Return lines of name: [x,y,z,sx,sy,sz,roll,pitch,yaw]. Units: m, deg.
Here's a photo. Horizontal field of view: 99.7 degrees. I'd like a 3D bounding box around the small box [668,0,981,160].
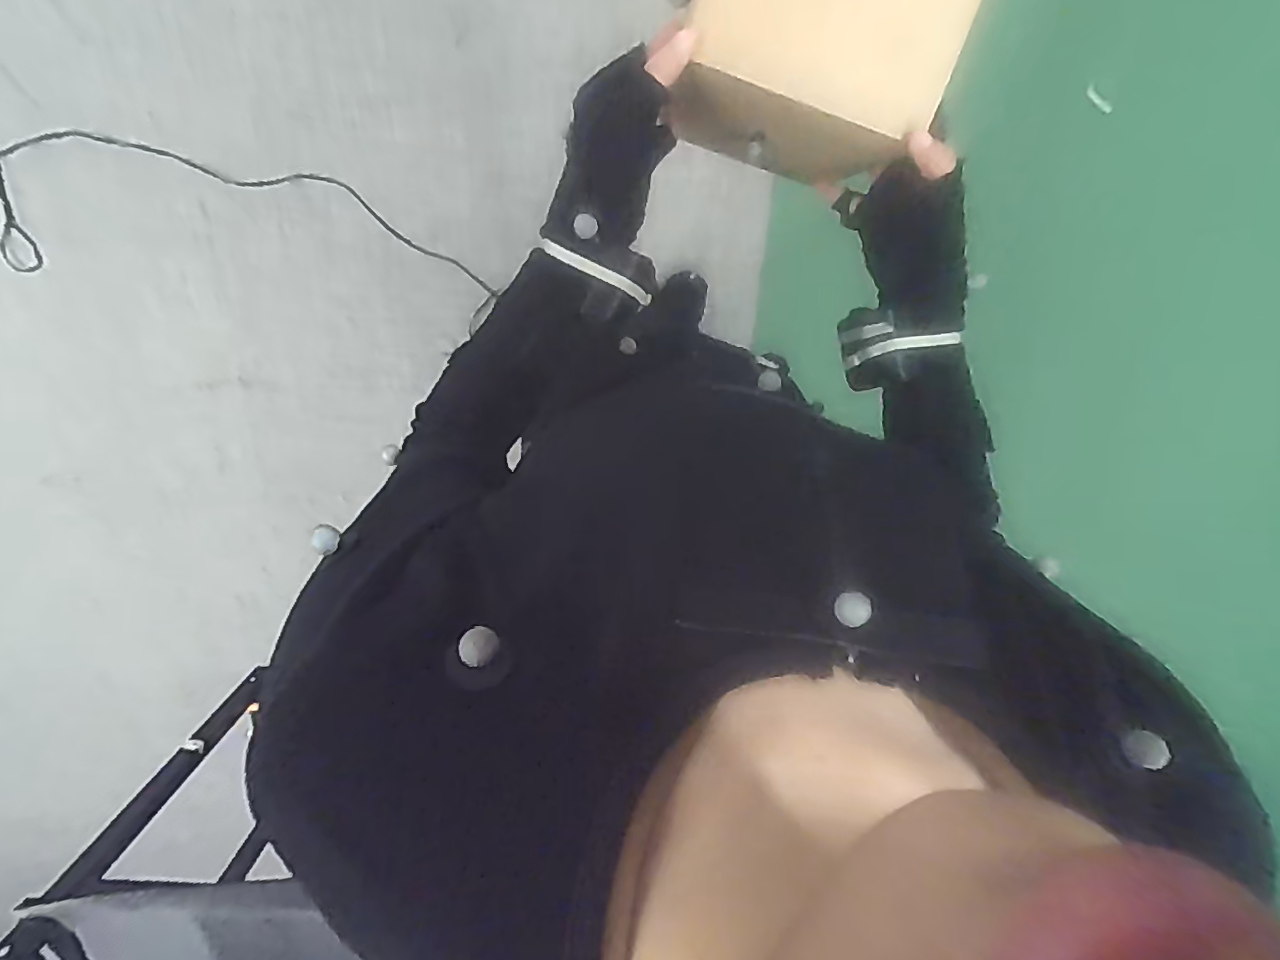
small box: [0.123,-0.349,0.371,0.168,0.176,0.179,14,109,-10]
